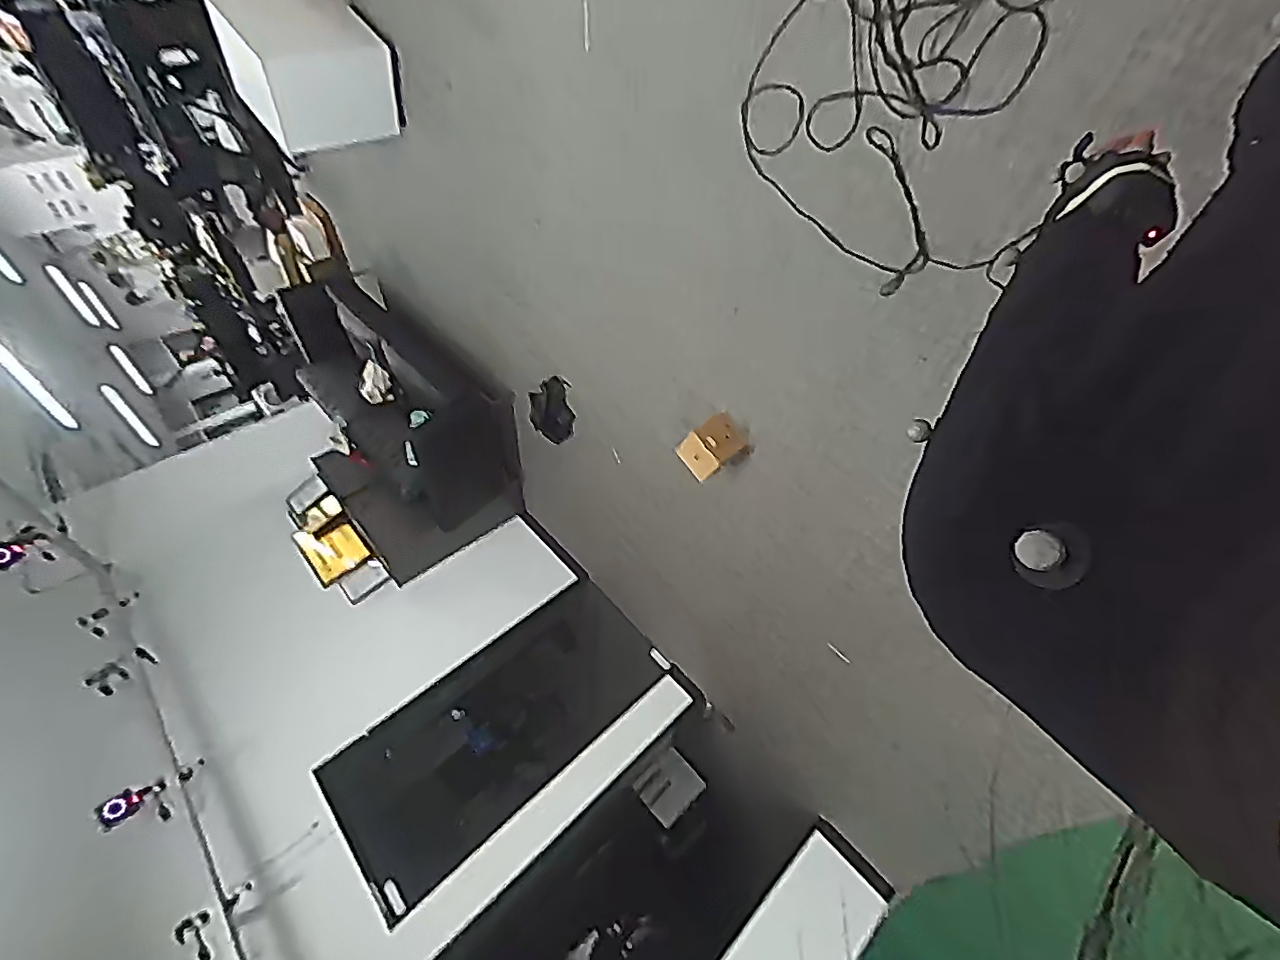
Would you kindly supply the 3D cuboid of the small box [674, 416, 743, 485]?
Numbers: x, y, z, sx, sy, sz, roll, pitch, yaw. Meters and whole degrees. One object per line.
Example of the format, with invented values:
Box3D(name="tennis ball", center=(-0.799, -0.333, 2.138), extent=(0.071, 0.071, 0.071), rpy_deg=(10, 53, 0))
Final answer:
Box3D(name="small box", center=(0.267, -0.115, 2.082), extent=(0.168, 0.176, 0.179), rpy_deg=(53, 150, 10))
